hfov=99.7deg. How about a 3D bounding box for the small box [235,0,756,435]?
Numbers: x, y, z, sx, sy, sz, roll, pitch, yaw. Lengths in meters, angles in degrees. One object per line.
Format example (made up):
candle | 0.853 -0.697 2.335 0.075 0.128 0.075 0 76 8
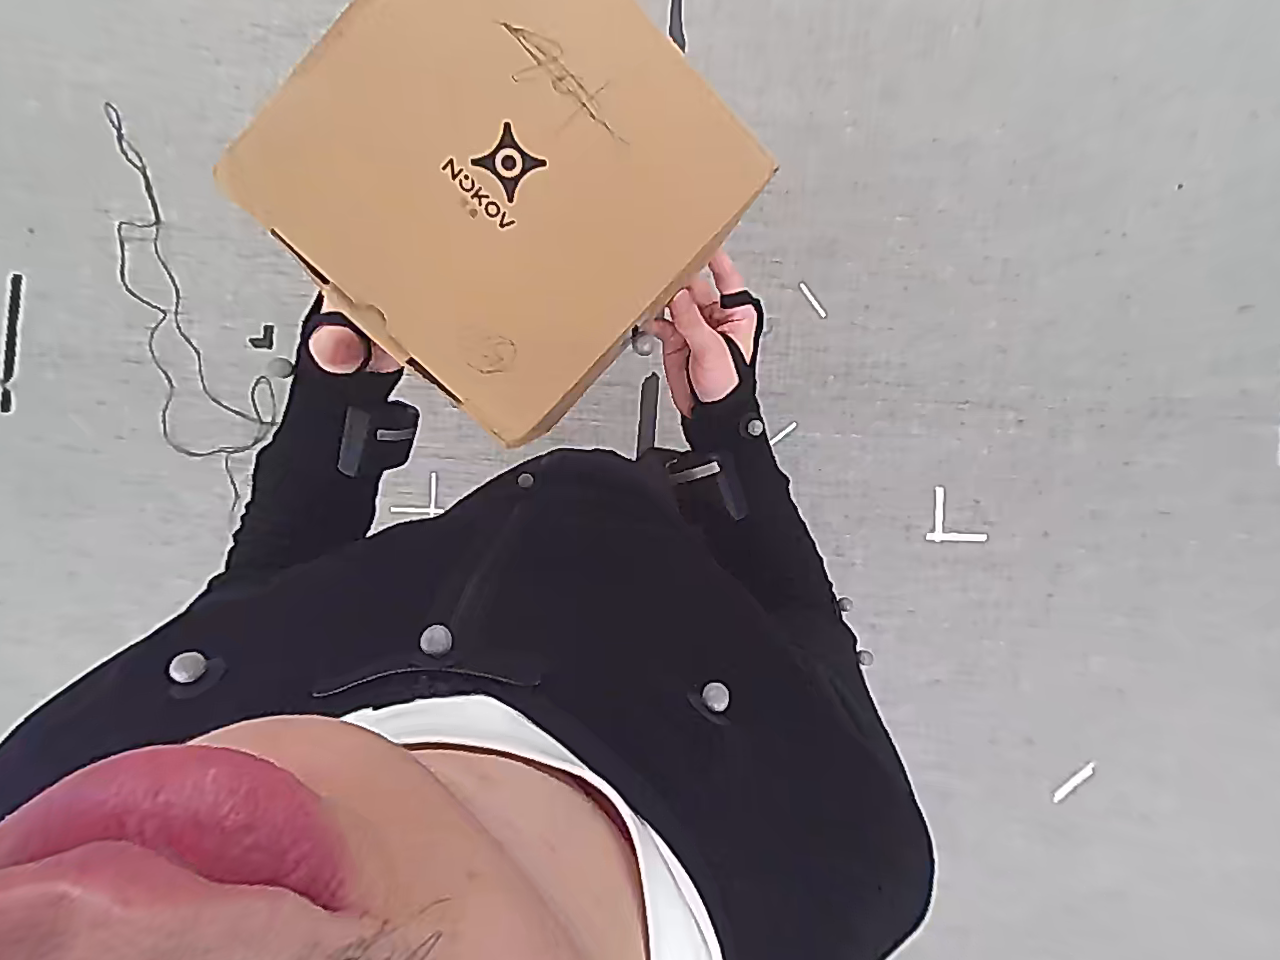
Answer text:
small box | -0.066 -0.146 0.319 0.168 0.176 0.179 42 93 -9
